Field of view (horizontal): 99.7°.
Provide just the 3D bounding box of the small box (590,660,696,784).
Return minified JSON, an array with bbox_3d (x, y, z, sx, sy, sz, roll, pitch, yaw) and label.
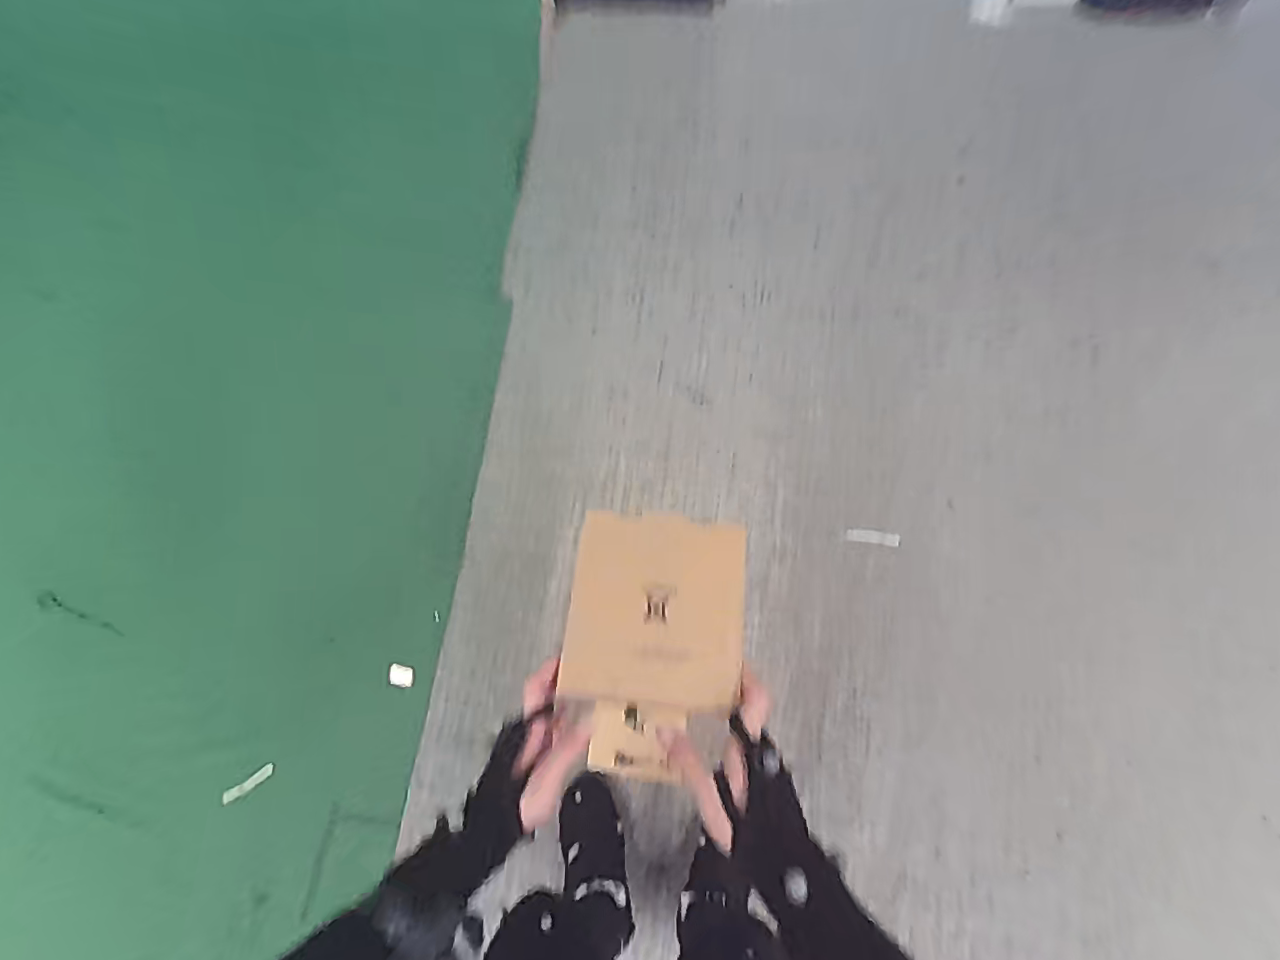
[{"bbox_3d":[0.012,0.444,1.024,0.168,0.176,0.179,7,76,7],"label":"small box"}]
